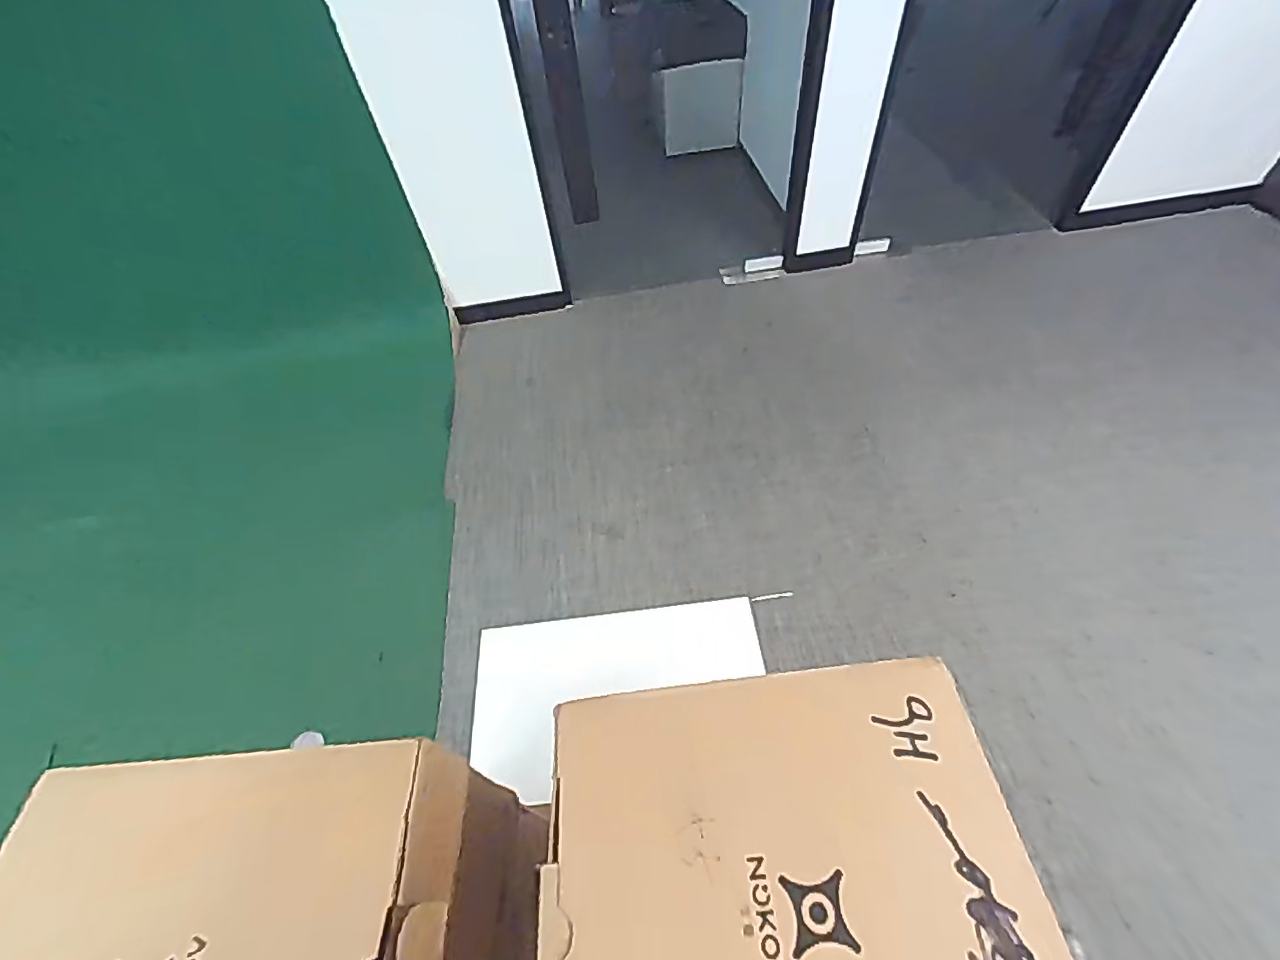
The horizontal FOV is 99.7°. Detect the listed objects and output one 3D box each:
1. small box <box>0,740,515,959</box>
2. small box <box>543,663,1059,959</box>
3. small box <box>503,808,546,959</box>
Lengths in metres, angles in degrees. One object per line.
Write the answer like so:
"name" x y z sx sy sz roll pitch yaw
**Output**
"small box" -0.172 0.237 0.255 0.179 0.176 0.168 -5 51 0
"small box" 0.061 0.204 0.254 0.179 0.176 0.168 -8 52 3
"small box" -0.158 0.343 0.379 0.179 0.176 0.168 -7 50 0
